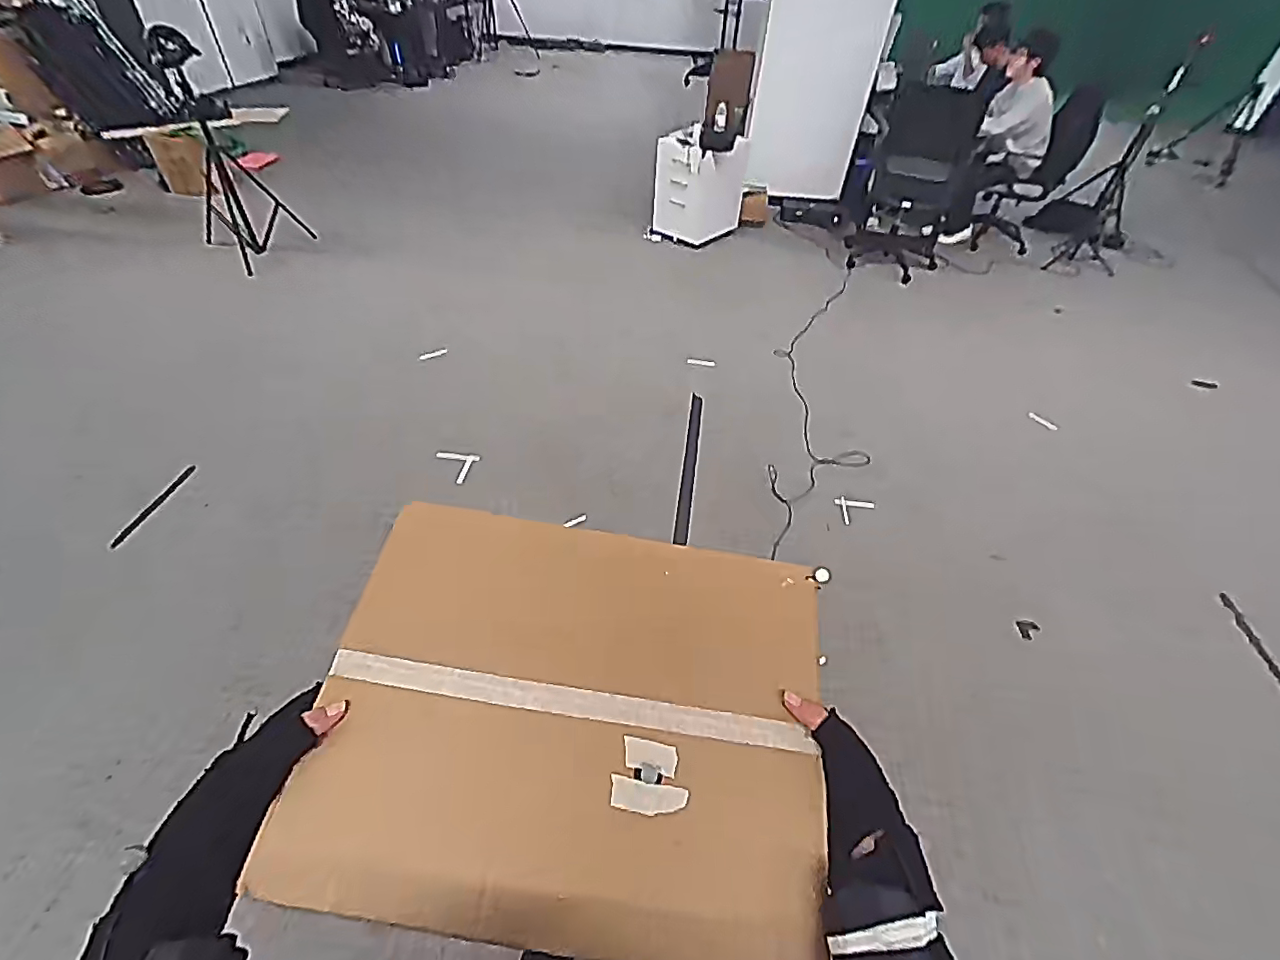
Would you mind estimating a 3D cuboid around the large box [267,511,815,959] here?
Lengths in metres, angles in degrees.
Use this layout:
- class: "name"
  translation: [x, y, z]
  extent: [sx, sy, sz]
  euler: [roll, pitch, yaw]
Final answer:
- class: "large box"
  translation: [-0.066, 0.266, 0.588]
  extent: [0.408, 0.320, 0.320]
  euler: [10, 58, 0]
